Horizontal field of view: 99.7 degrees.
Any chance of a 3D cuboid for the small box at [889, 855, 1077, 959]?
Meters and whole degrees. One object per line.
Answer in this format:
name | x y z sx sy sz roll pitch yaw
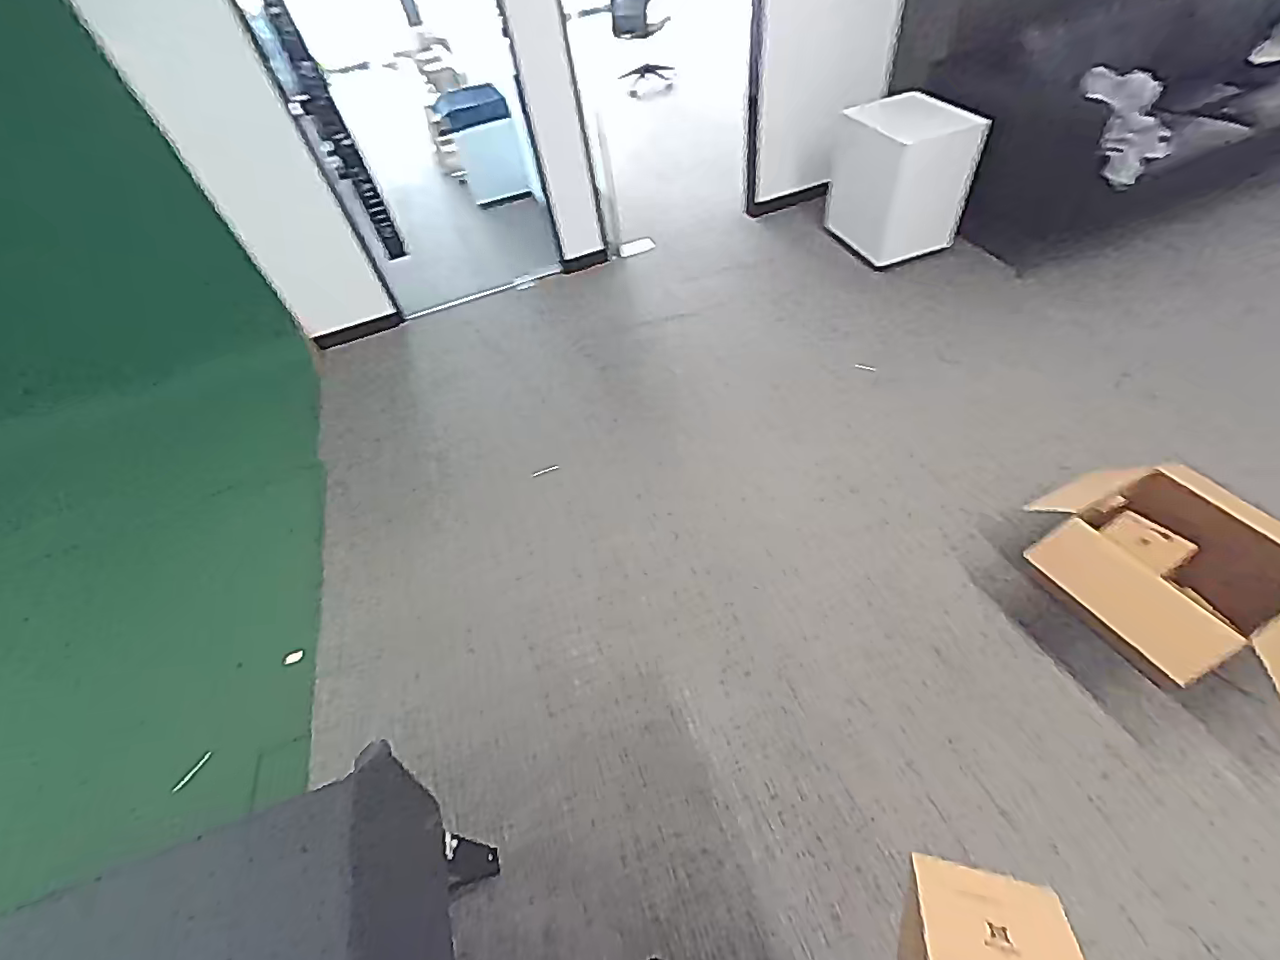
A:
small box | 0.393 0.594 0.621 0.168 0.176 0.179 7 12 17
